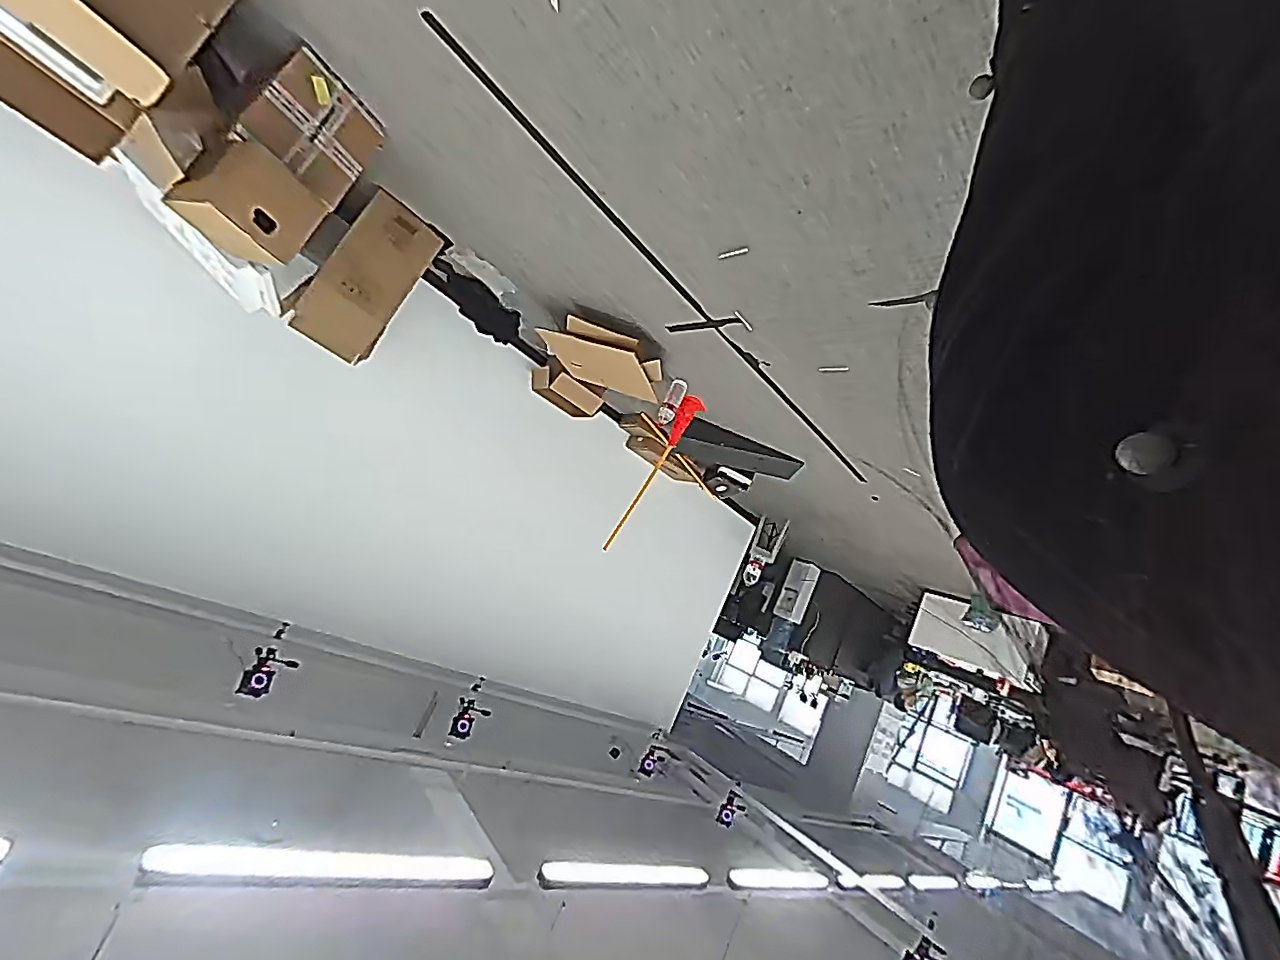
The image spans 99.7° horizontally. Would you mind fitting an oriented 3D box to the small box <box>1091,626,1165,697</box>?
[{"bbox_3d":[1.778,0.657,1.966,0.179,0.176,0.168,36,164,-36],"label":"small box"}]
